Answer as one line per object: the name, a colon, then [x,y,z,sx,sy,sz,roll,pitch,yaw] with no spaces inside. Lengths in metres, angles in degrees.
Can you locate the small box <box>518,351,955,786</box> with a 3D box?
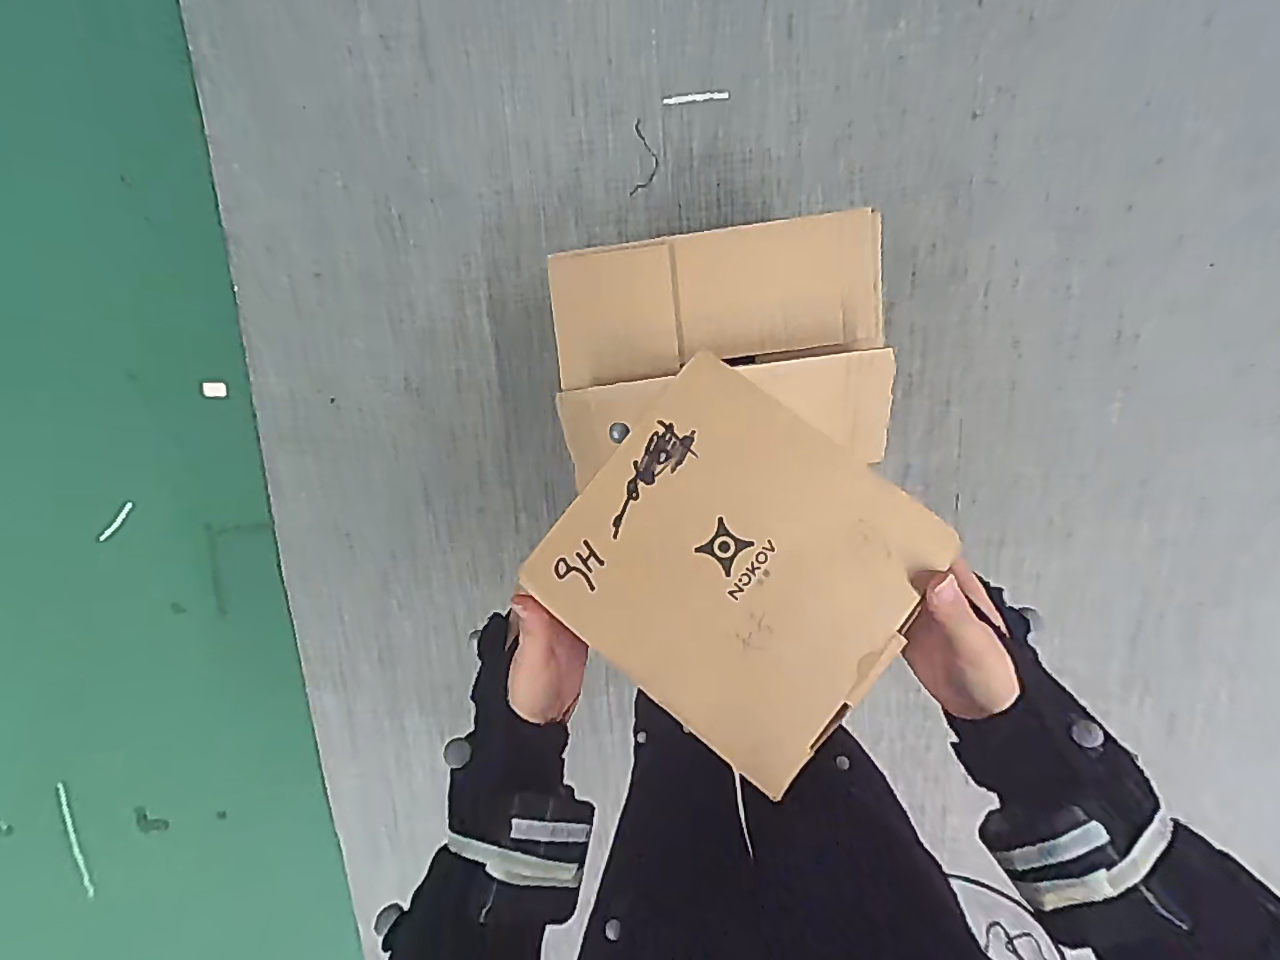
small box: [0.053,0.051,0.365,0.179,0.176,0.168,38,84,6]
